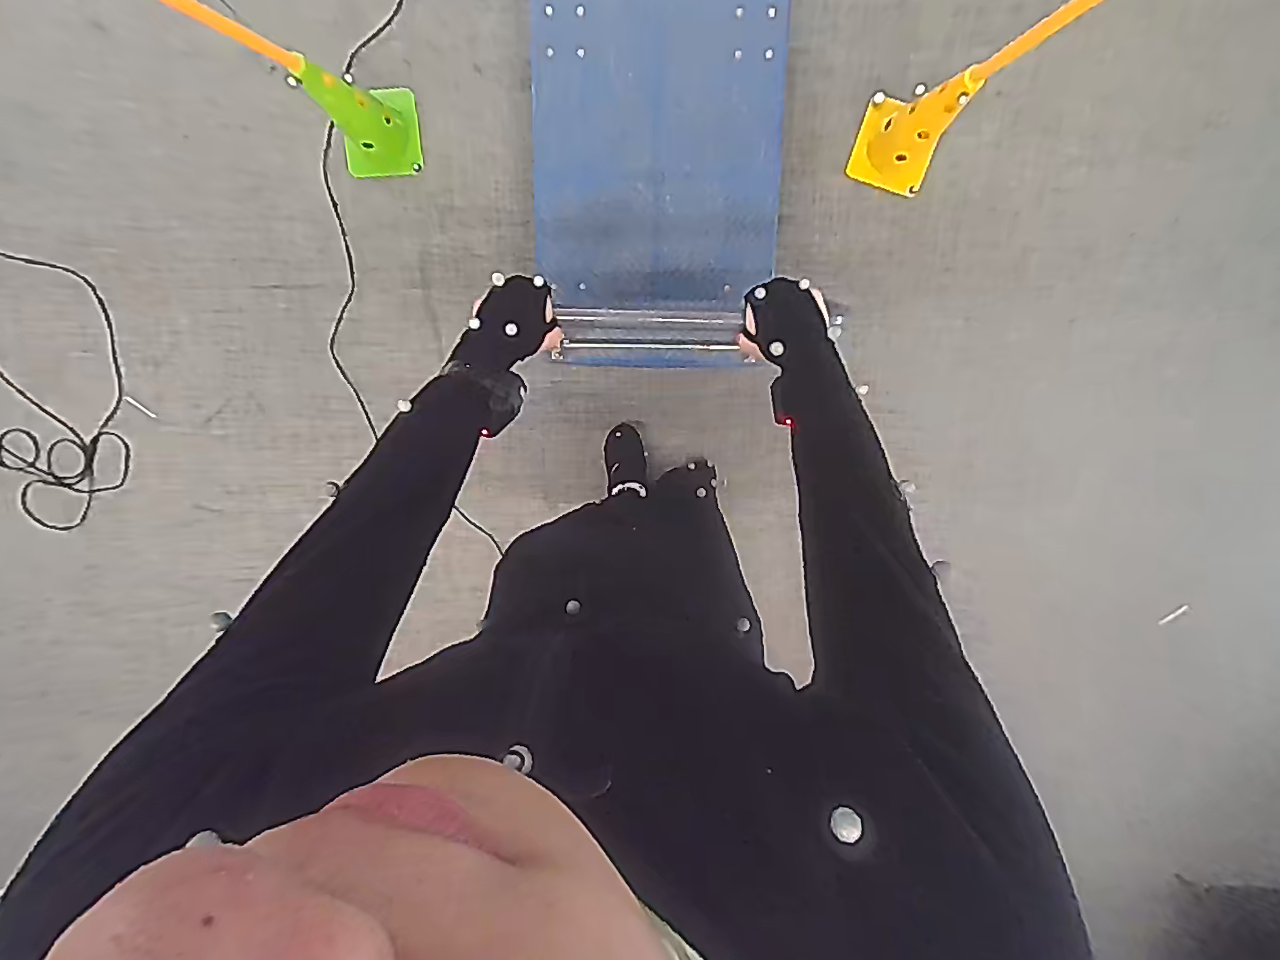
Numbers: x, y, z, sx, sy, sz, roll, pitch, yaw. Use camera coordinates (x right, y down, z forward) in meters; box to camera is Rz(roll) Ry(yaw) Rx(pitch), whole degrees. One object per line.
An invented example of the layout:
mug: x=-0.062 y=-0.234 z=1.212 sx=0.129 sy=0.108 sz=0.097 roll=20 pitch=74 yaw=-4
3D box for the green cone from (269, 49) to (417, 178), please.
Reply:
green cone: x=-0.687 y=-0.855 z=1.218 sx=0.202 sy=0.368 sz=0.200 roll=-3 pitch=102 yaw=3
